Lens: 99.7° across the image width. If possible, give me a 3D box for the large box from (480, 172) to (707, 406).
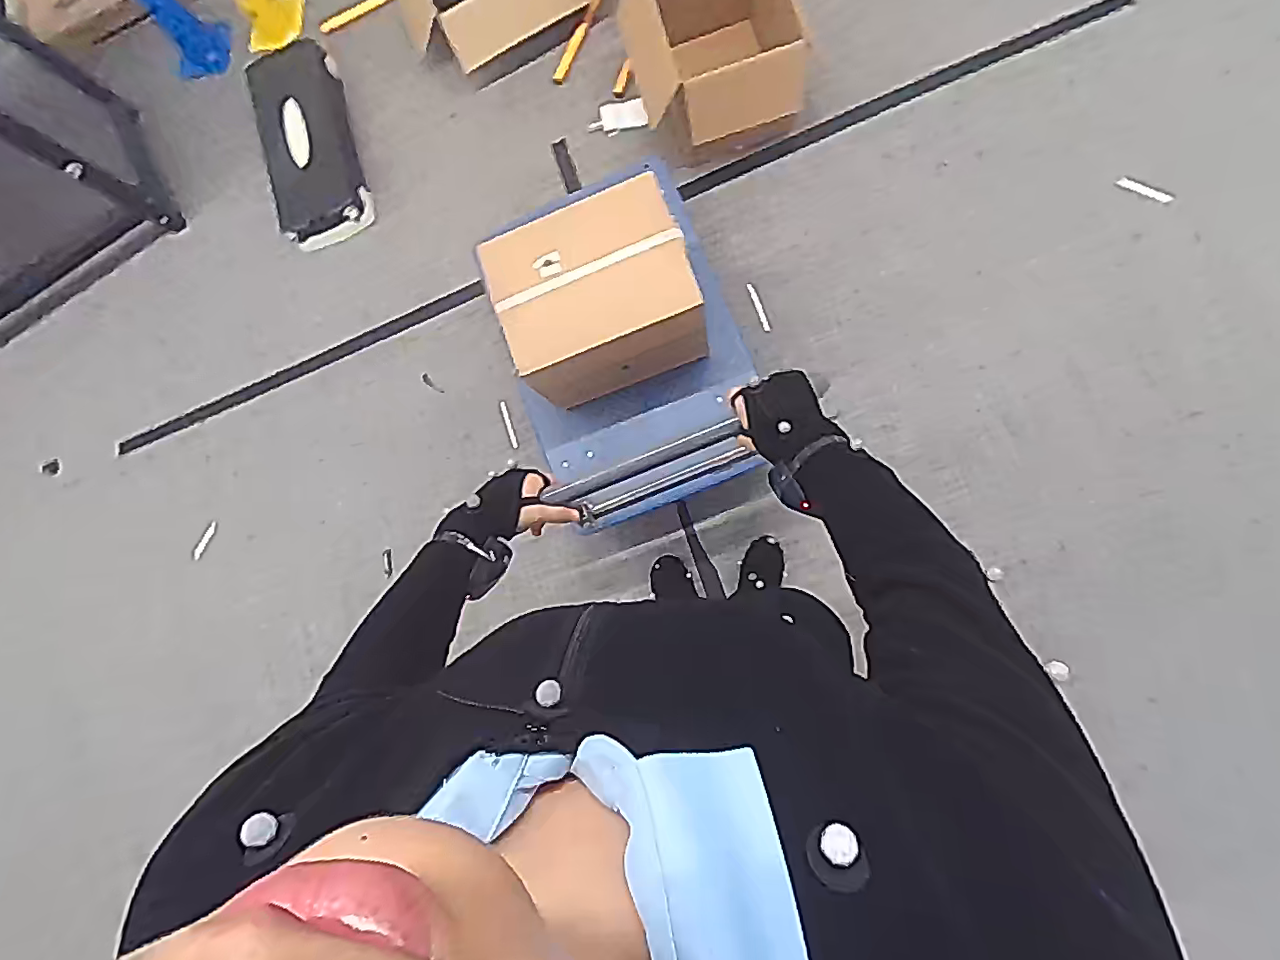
[{"bbox_3d":[-0.088,-0.413,1.264,0.408,0.320,0.320,-21,80,7],"label":"large box"}]
